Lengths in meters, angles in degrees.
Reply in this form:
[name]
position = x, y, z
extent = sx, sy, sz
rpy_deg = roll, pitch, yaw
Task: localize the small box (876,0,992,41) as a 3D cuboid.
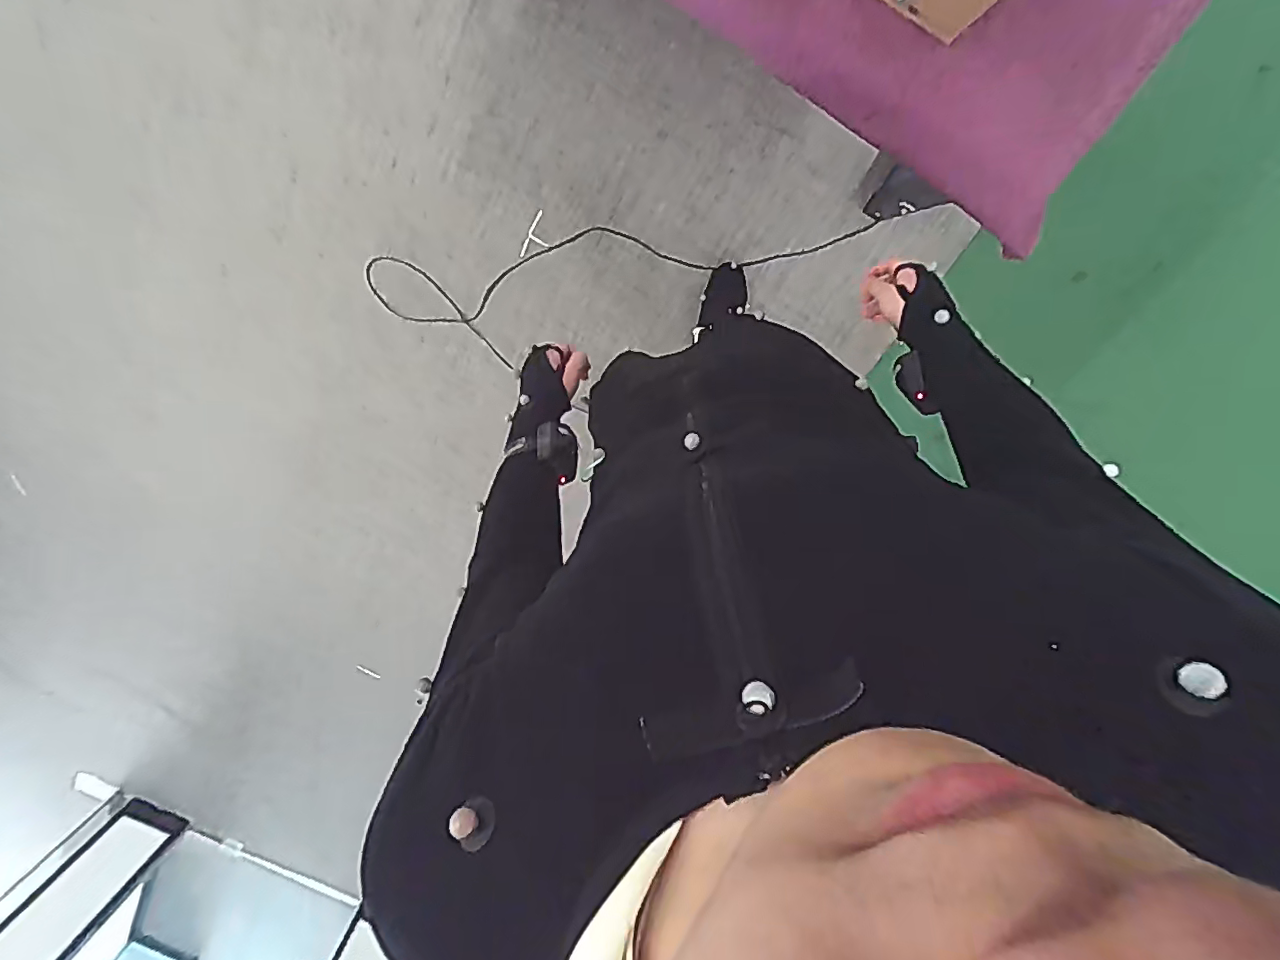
[small box]
position = 0.332, -0.605, 0.542
extent = 0.168, 0.176, 0.179
rpy_deg = 30, 111, -5
